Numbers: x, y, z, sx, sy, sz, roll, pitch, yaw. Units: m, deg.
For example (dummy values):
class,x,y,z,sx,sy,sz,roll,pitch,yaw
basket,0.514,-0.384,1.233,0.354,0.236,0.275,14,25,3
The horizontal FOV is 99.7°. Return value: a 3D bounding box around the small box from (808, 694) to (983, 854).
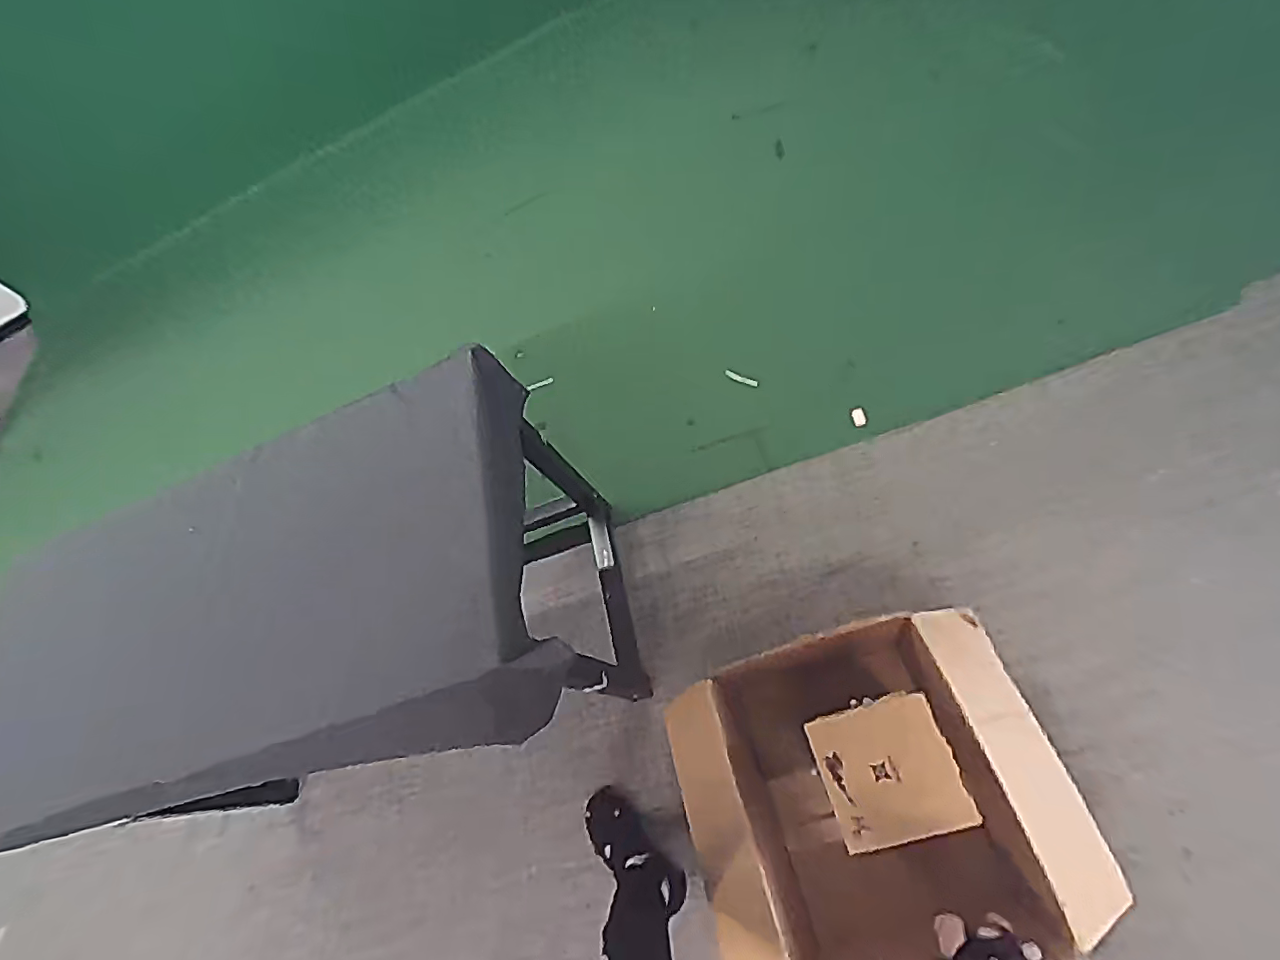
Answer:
class,x,y,z,sx,sy,sz,roll,pitch,yaw
small box,0.362,0.429,0.806,0.179,0.176,0.168,-20,61,9
